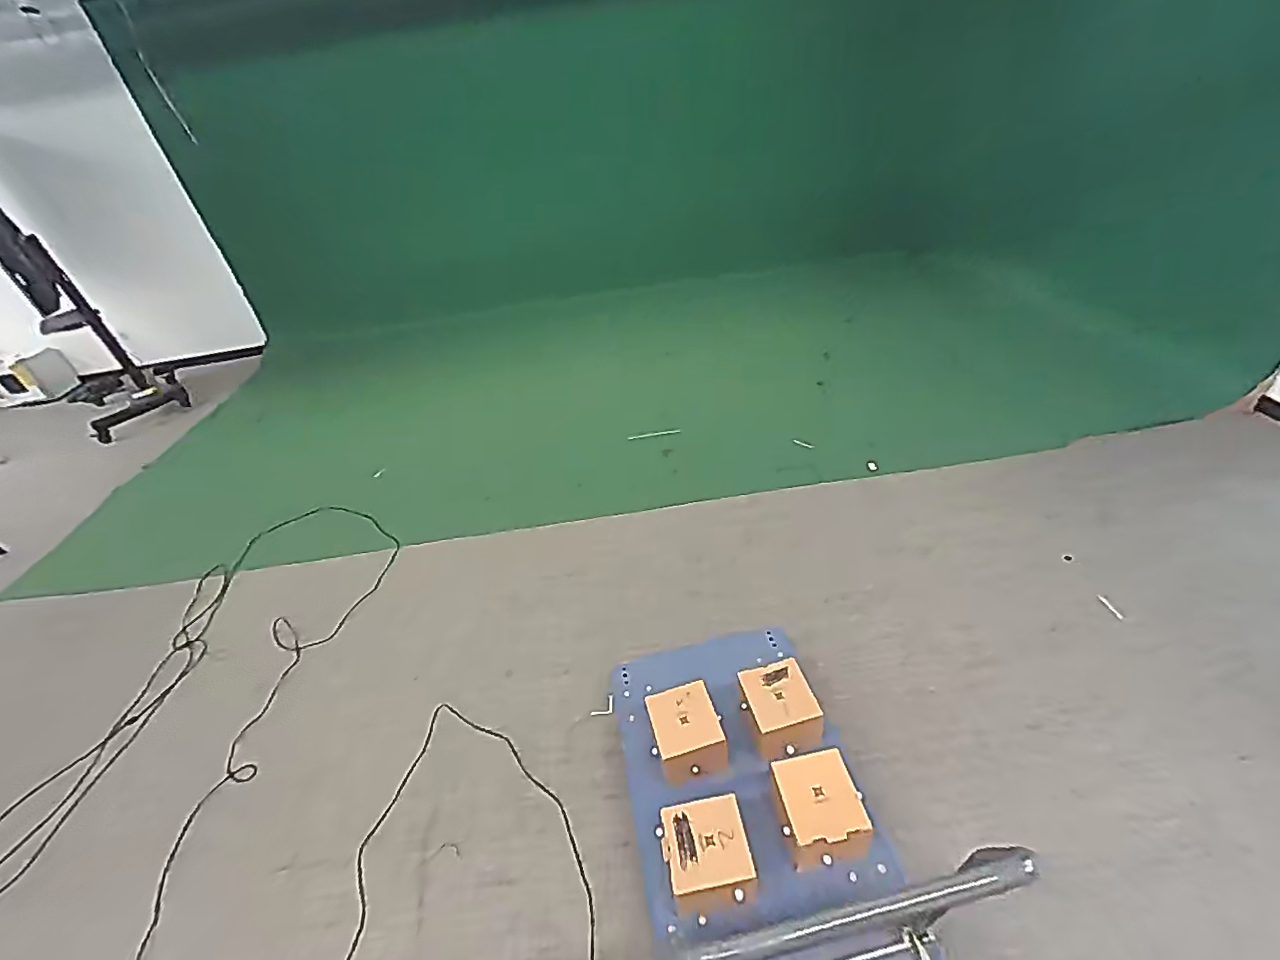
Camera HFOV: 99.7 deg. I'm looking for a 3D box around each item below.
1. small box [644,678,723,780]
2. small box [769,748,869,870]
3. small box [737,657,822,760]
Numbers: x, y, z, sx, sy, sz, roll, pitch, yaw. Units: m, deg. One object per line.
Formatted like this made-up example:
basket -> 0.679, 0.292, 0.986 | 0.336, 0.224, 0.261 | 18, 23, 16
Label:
small box -> 0.116, 0.666, 1.431 | 0.168, 0.176, 0.179 | -14, 38, -7
small box -> 0.405, 0.763, 1.256 | 0.168, 0.176, 0.179 | -11, 37, -3
small box -> 0.366, 0.613, 1.450 | 0.168, 0.176, 0.179 | -14, 39, -5
